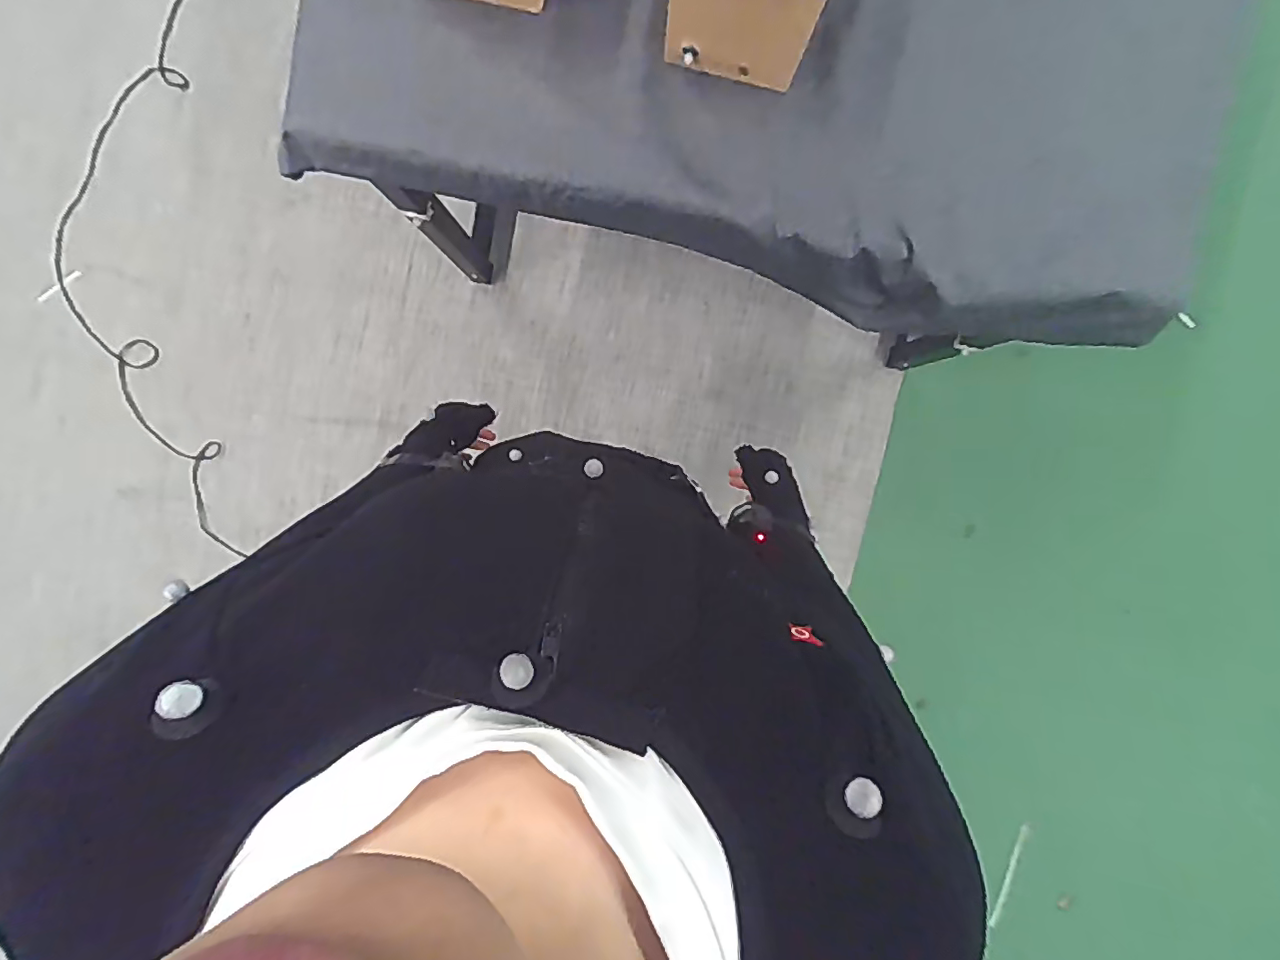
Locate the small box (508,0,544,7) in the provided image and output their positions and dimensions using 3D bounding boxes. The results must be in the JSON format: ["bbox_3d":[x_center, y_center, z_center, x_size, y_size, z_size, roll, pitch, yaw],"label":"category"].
[{"bbox_3d":[-0.185,-0.695,0.610,0.168,0.176,0.179,10,95,-1],"label":"small box"}]

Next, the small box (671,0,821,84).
[{"bbox_3d":[0.133,-0.603,0.617,0.168,0.176,0.179,14,93,-1],"label":"small box"}]
